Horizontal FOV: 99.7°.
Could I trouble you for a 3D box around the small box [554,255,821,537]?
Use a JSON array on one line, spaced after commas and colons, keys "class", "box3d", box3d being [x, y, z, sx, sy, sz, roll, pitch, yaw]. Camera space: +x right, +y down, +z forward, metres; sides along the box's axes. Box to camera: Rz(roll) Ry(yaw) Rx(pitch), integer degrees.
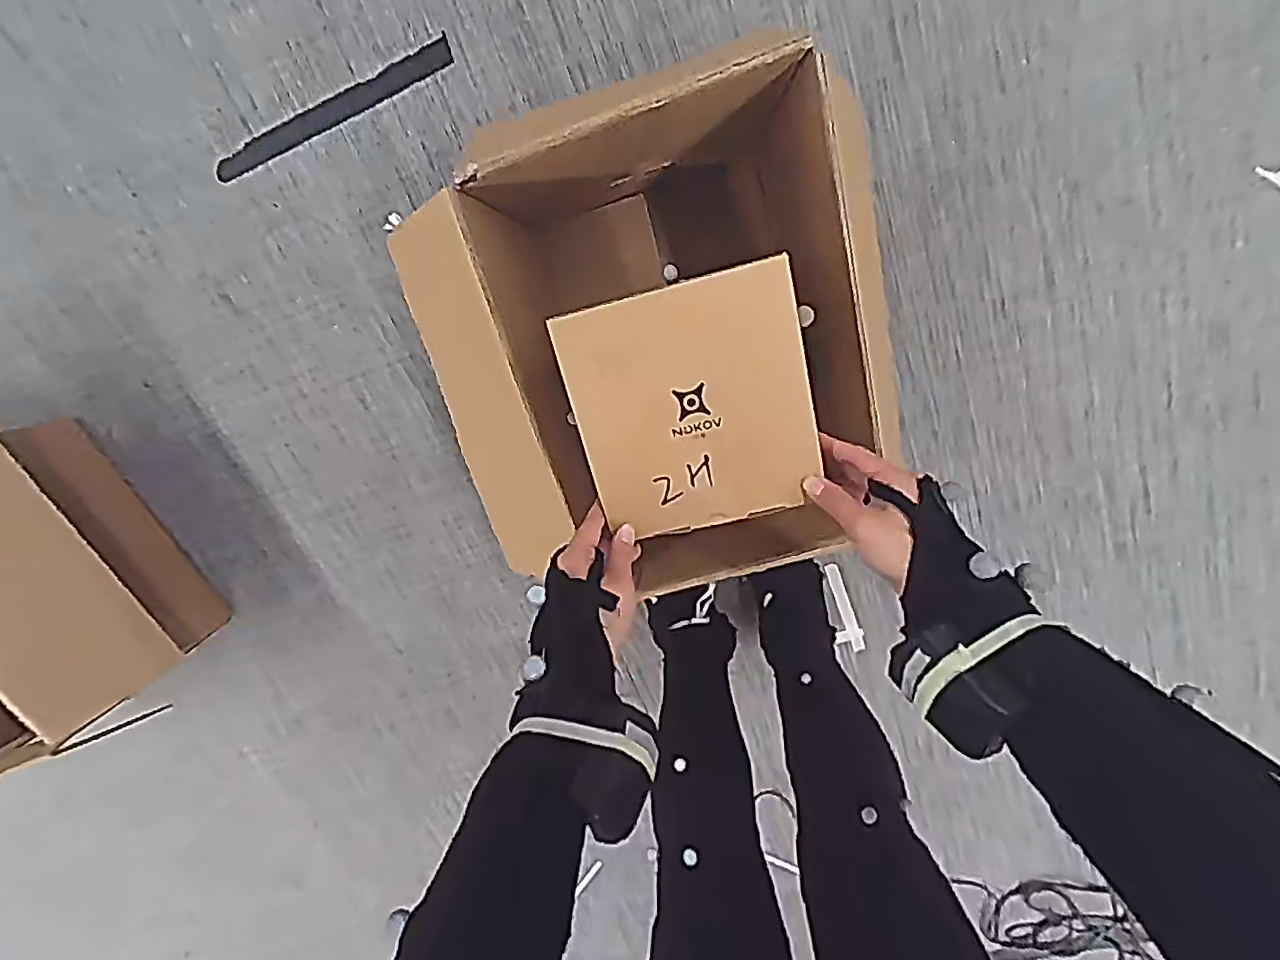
[{"class": "small box", "box3d": [0.041, -0.076, 0.464, 0.168, 0.176, 0.179, -13, 108, 8]}]
